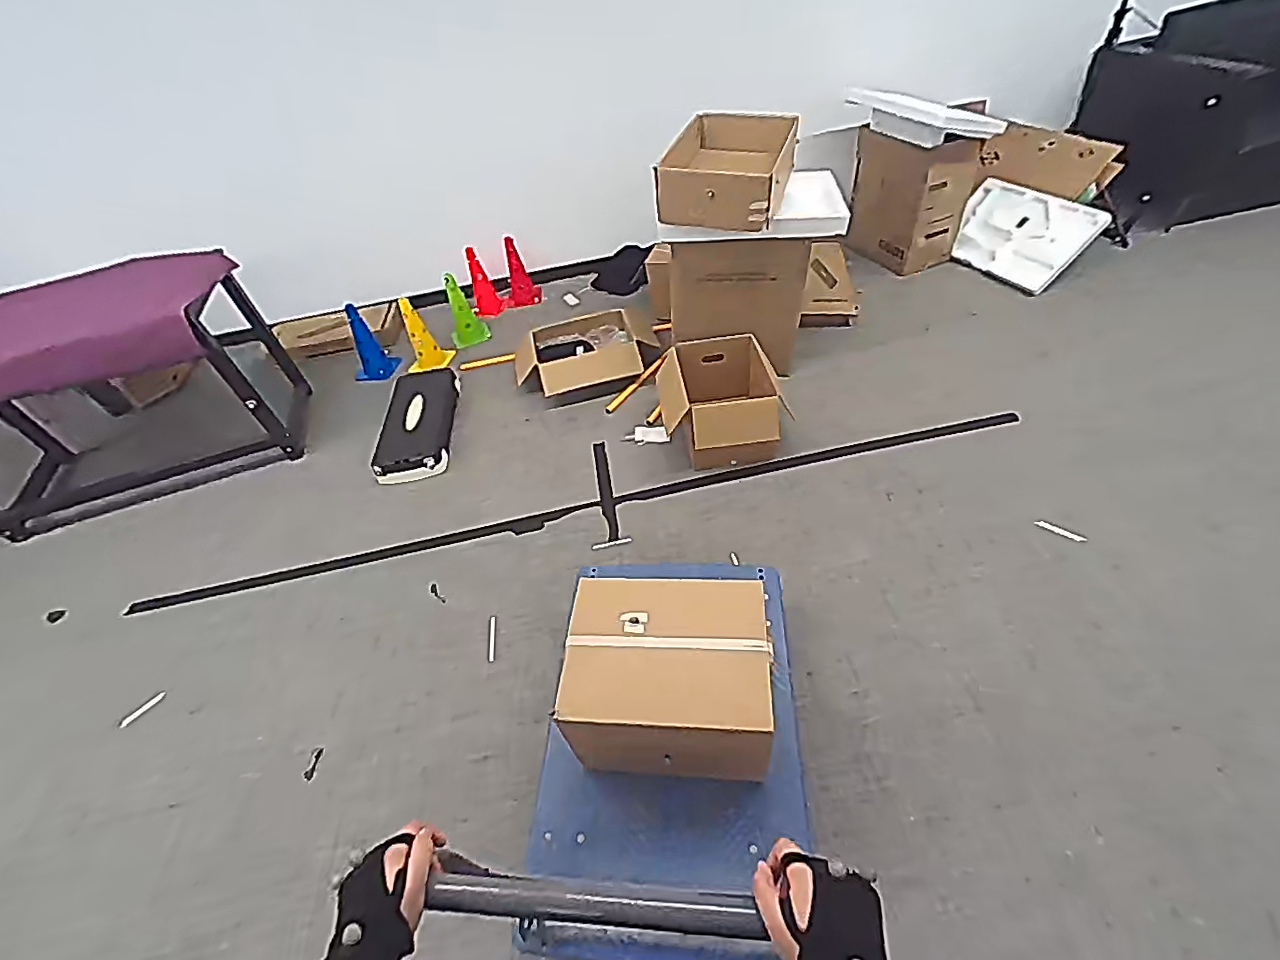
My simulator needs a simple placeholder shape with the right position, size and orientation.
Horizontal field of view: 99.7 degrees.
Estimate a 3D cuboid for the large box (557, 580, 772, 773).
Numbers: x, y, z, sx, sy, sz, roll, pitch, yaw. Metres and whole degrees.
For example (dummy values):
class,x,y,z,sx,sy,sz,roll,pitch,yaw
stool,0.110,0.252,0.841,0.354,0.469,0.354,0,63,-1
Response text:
class,x,y,z,sx,sy,sz,roll,pitch,yaw
large box,0.070,0.437,1.202,0.408,0.320,0.320,-2,45,9
